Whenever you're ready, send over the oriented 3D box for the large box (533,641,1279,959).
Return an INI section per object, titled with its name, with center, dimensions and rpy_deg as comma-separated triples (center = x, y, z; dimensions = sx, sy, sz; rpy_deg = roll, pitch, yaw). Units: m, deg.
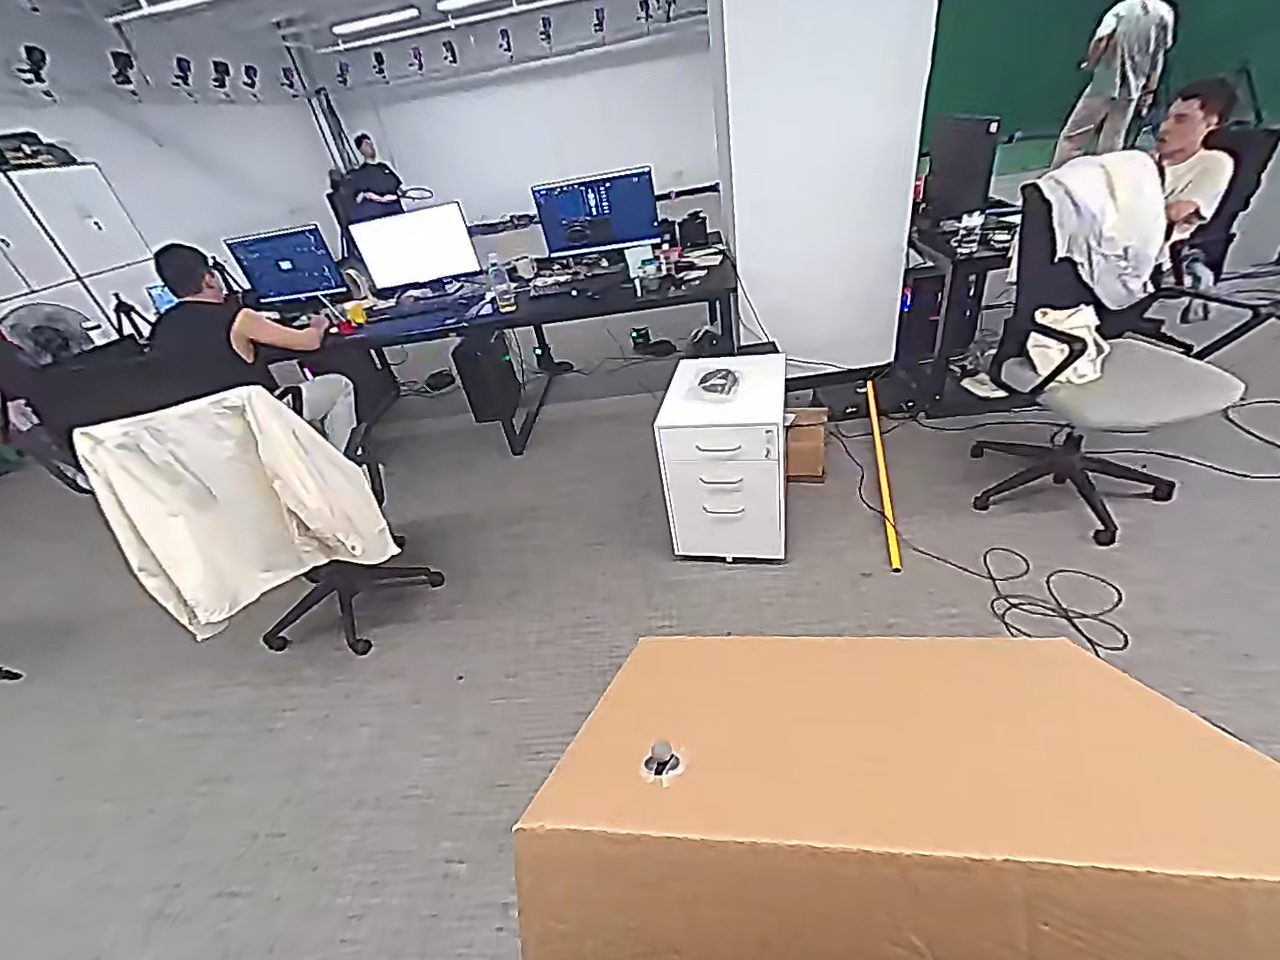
[large box]
center = 0.176, 0.318, 0.401
dimensions = 0.408, 0.320, 0.320
rpy_deg = -4, 2, 13
